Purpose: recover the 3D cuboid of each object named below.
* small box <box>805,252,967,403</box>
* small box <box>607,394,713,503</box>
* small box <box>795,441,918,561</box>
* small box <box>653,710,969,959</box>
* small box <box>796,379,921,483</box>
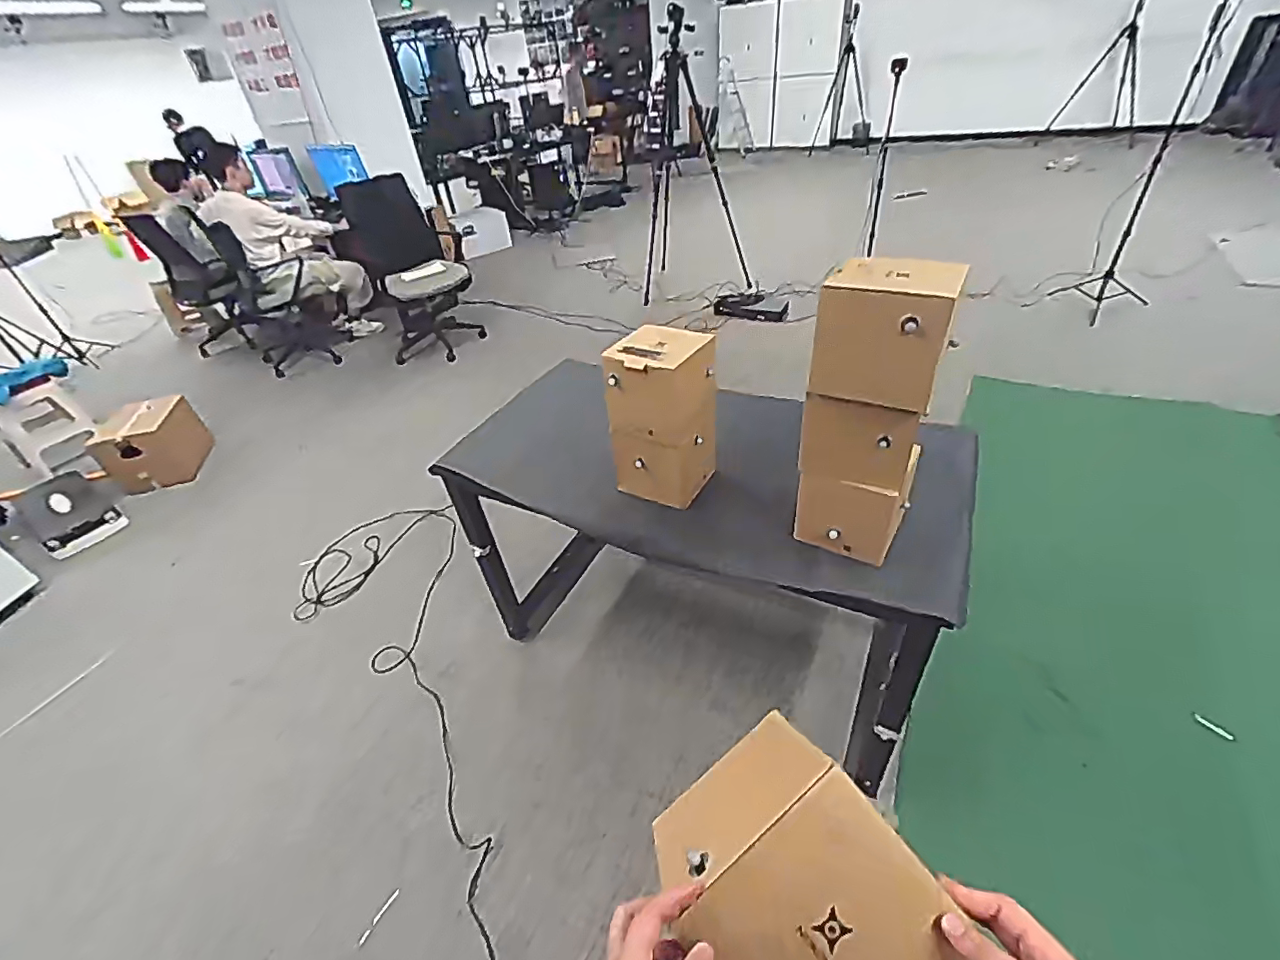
[{"bbox_3d":[0.364,-0.231,0.815,0.179,0.176,0.168,16,40,28],"label":"small box"},{"bbox_3d":[0.051,-0.070,1.201,0.179,0.176,0.168,15,42,28],"label":"small box"},{"bbox_3d":[0.403,0.019,1.023,0.168,0.176,0.179,18,43,30],"label":"small box"},{"bbox_3d":[0.125,0.337,0.474,0.179,0.176,0.168,-40,84,-7],"label":"small box"},{"bbox_3d":[0.378,-0.113,0.932,0.179,0.176,0.168,11,38,25],"label":"small box"}]
